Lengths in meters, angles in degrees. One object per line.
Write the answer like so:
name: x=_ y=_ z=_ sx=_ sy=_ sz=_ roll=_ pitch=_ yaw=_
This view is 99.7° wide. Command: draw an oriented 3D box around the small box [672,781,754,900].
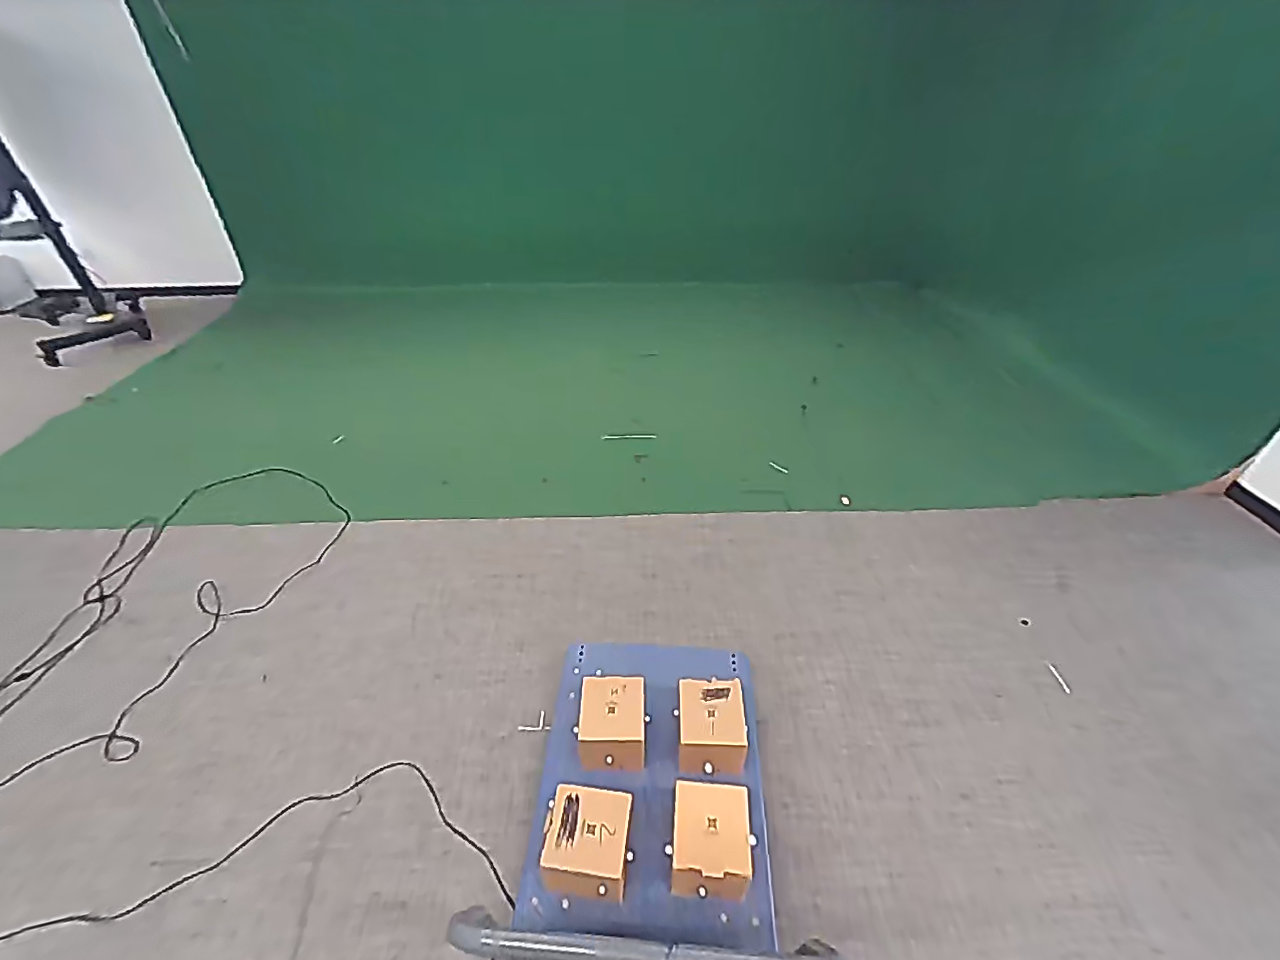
small box: x=0.160 y=0.819 z=1.230 sx=0.168 sy=0.176 sz=0.179 roll=3 pitch=39 yaw=4

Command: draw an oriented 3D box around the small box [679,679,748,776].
small box: x=0.188 y=0.654 z=1.432 sx=0.168 sy=0.176 sz=0.179 roll=1 pitch=39 yaw=3

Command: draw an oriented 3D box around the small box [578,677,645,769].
small box: x=-0.069 y=0.650 z=1.441 sx=0.168 sy=0.176 sz=0.179 roll=1 pitch=39 yaw=0
